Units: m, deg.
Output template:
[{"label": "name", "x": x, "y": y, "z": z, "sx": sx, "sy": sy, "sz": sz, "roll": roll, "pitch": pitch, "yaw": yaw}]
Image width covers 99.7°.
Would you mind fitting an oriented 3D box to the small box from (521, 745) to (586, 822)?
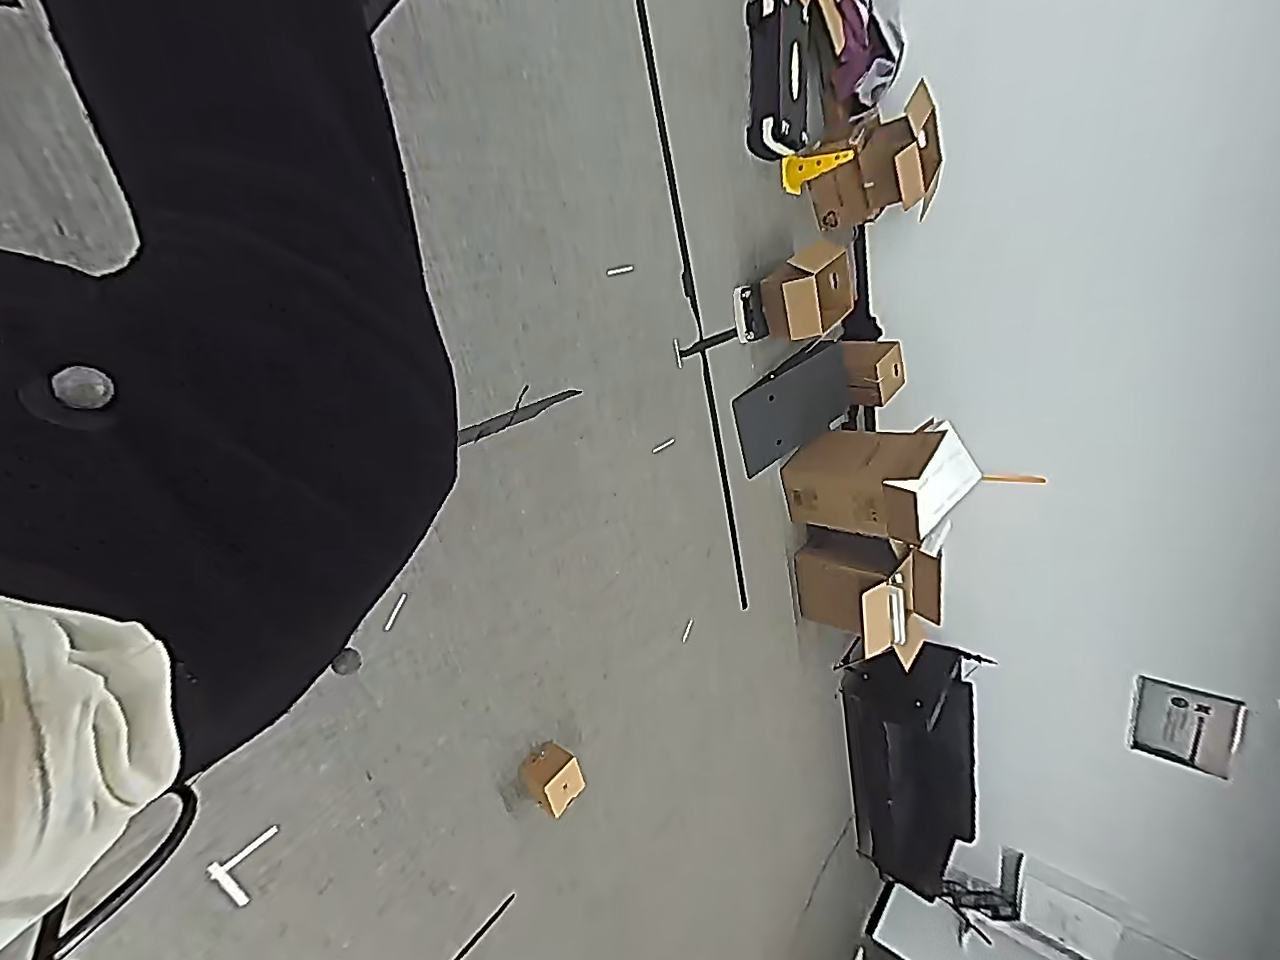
[{"label": "small box", "x": -0.345, "y": 1.196, "z": 2.147, "sx": 0.168, "sy": 0.176, "sz": 0.179, "roll": -33, "pitch": 119, "yaw": -41}]
